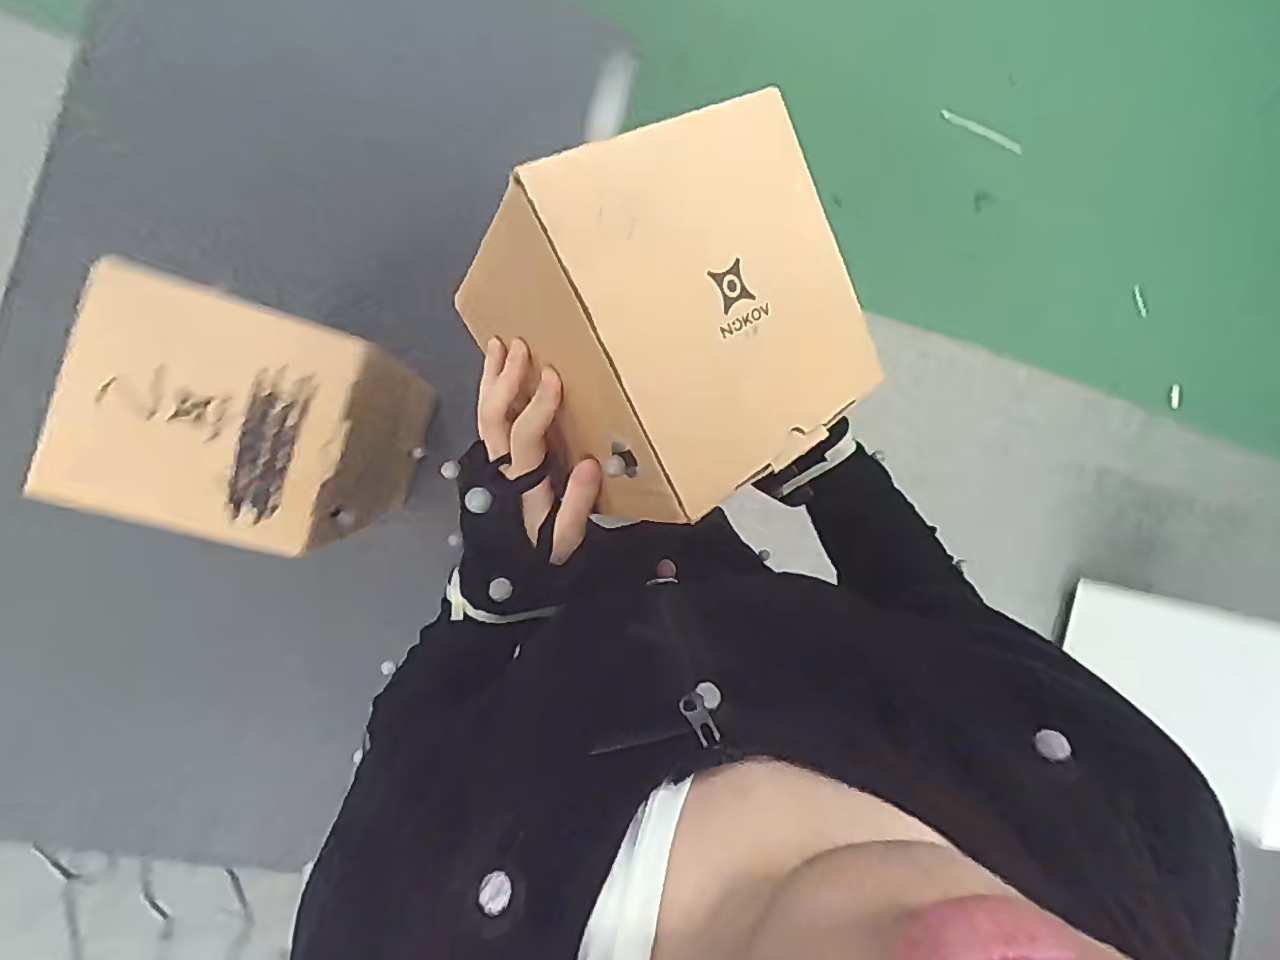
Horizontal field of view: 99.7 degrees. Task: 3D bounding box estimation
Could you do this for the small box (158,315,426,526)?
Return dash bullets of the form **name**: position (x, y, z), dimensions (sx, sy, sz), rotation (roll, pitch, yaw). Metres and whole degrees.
- **small box**: position (-0.360, -0.056, 0.597), dimensions (0.179, 0.176, 0.168), rotation (17, 89, -12)
